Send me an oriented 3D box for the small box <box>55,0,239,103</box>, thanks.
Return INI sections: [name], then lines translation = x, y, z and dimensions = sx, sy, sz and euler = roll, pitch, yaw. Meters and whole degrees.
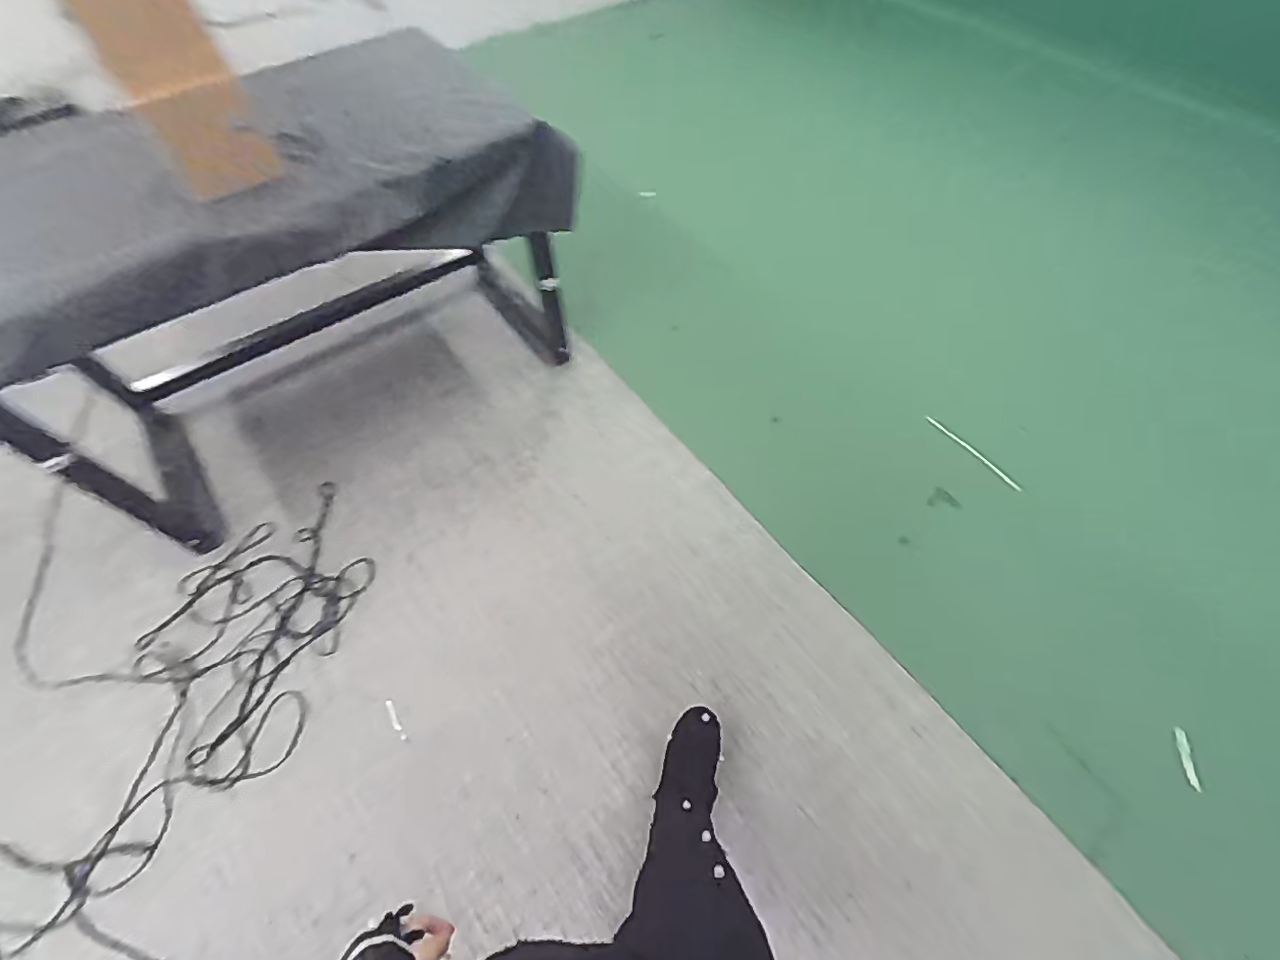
[small box]
translation = -0.809, -0.747, 0.878
dimensions = 0.179, 0.176, 0.168
euler = -32, 62, -19
